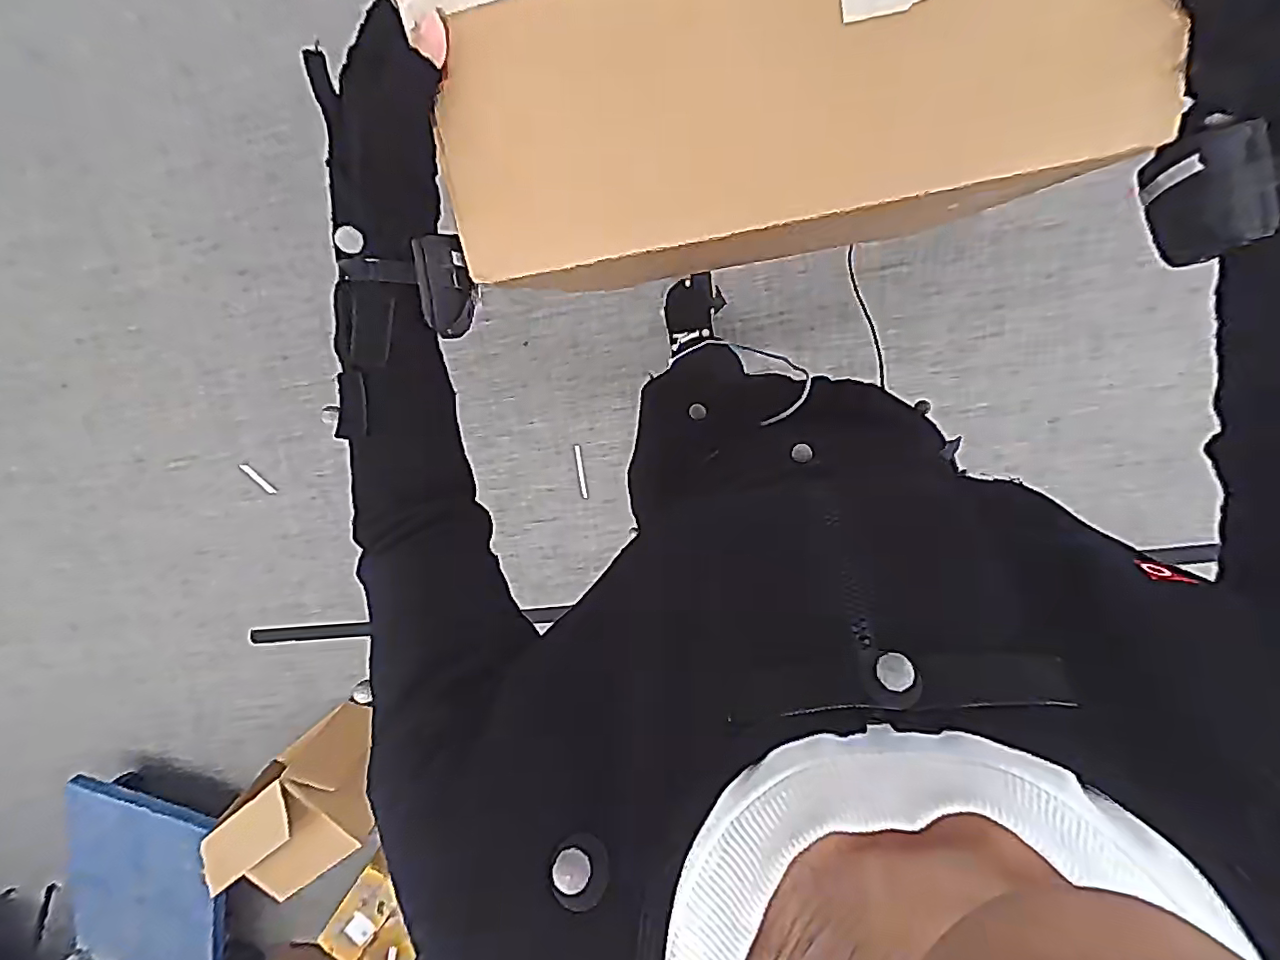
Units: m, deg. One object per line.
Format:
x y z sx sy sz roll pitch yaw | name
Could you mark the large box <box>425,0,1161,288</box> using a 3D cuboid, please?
0.080 -0.357 0.433 0.408 0.320 0.320 -8 107 10 | large box
